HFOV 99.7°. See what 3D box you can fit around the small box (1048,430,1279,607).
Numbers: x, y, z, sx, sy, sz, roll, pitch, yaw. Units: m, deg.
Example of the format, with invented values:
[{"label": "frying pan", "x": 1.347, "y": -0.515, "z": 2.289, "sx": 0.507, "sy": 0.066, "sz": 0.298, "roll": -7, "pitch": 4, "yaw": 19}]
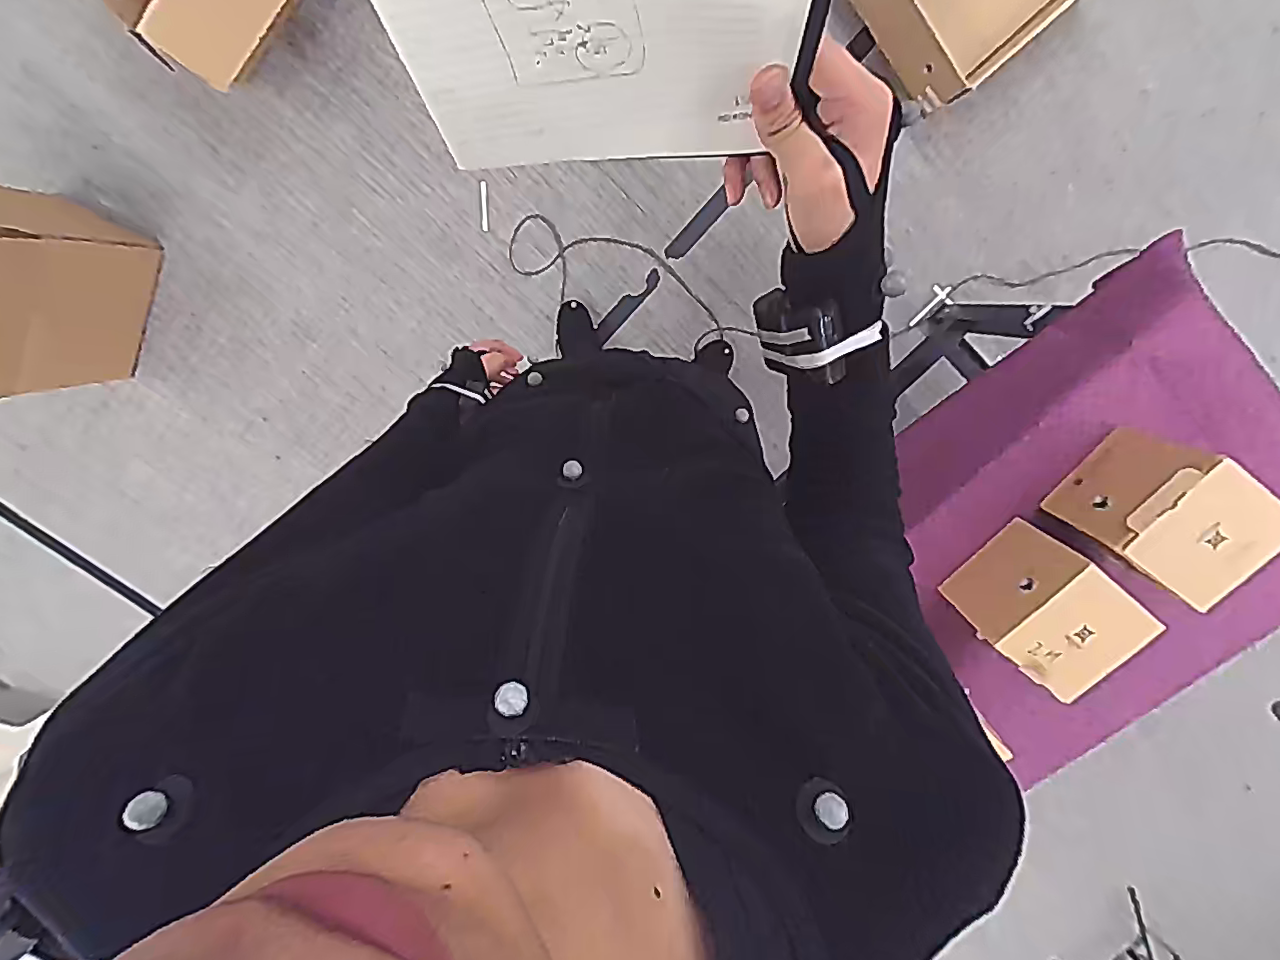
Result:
[{"label": "small box", "x": 0.763, "y": 0.044, "z": 0.792, "sx": 0.179, "sy": 0.176, "sz": 0.168, "roll": 33, "pitch": 108, "yaw": -10}]
